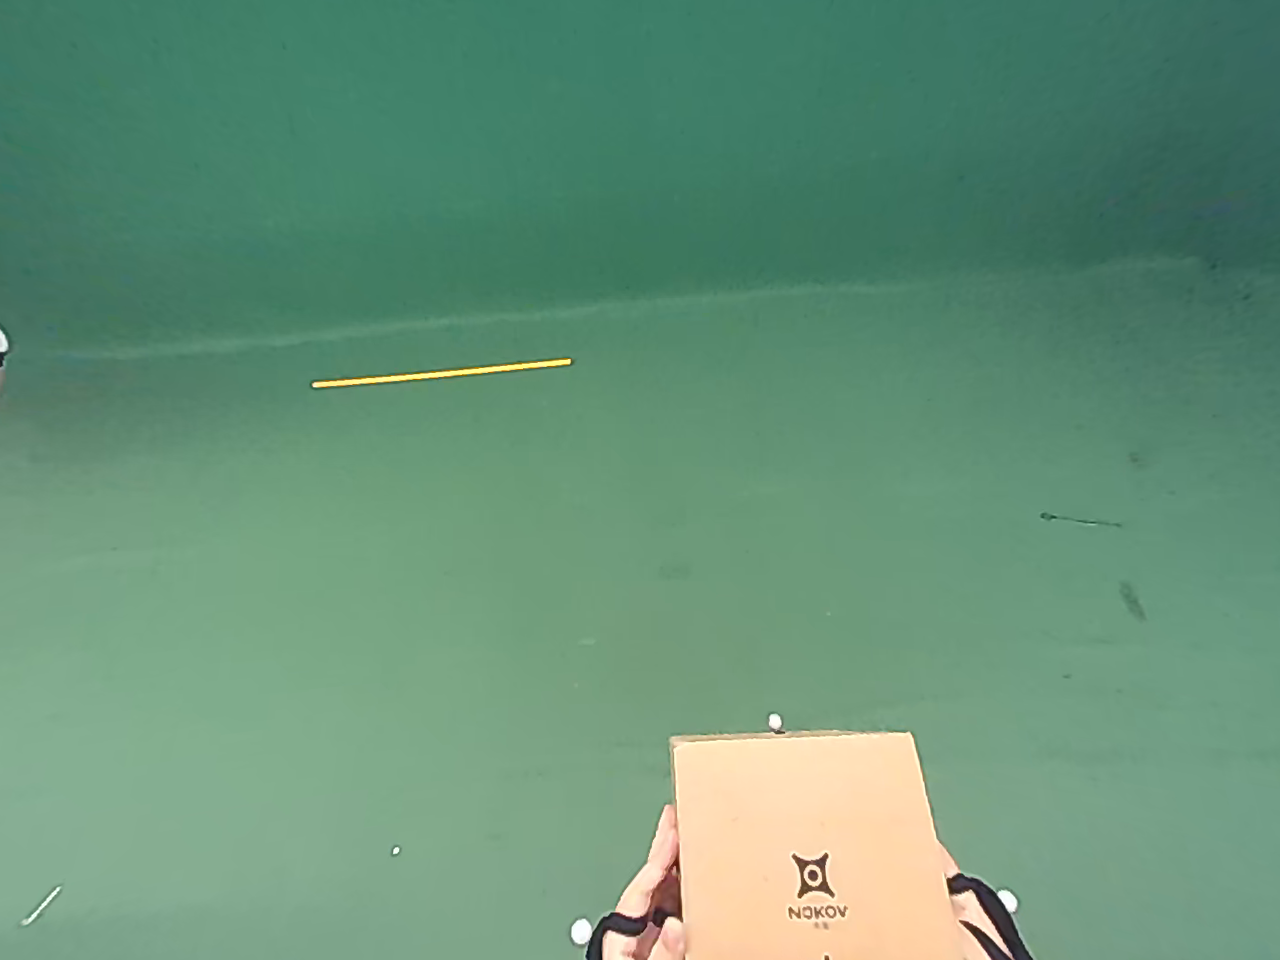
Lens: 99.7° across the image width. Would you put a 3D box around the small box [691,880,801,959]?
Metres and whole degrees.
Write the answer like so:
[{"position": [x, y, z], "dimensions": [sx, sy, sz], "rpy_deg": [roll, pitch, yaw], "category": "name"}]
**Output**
[{"position": [0.177, 0.810, 0.930], "dimensions": [0.168, 0.176, 0.179], "rpy_deg": [-3, 48, 1], "category": "small box"}]
